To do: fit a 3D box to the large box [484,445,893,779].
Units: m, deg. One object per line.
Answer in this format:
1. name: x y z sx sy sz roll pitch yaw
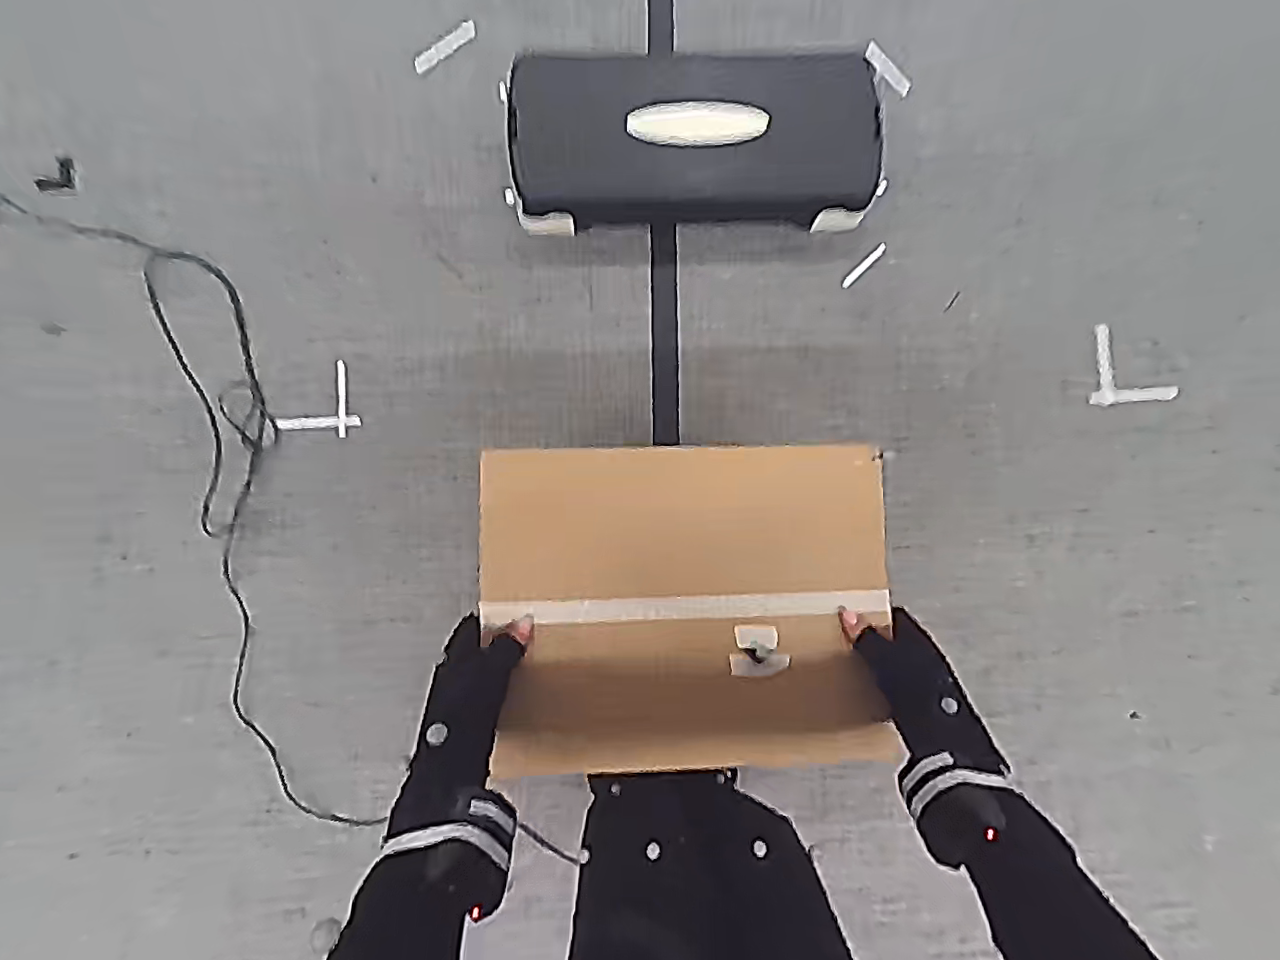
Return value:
1. large box: 0.039 0.135 0.683 0.408 0.320 0.320 -2 87 -4
